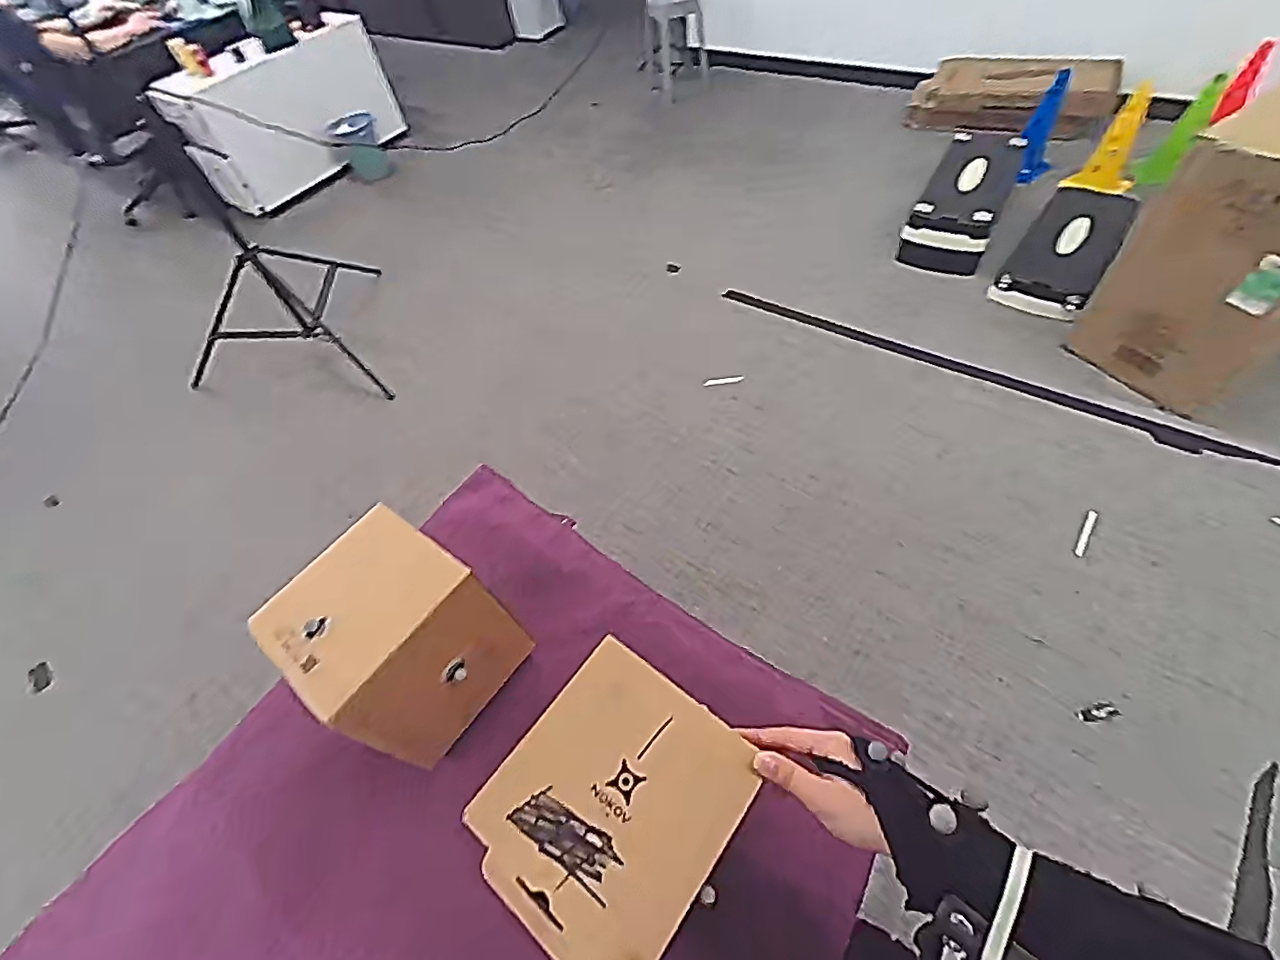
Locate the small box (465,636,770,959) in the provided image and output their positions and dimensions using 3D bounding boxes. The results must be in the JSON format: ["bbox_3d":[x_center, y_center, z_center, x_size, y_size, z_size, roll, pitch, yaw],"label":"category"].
[{"bbox_3d":[-0.008,0.274,0.466,0.168,0.176,0.179,31,65,24],"label":"small box"}]
